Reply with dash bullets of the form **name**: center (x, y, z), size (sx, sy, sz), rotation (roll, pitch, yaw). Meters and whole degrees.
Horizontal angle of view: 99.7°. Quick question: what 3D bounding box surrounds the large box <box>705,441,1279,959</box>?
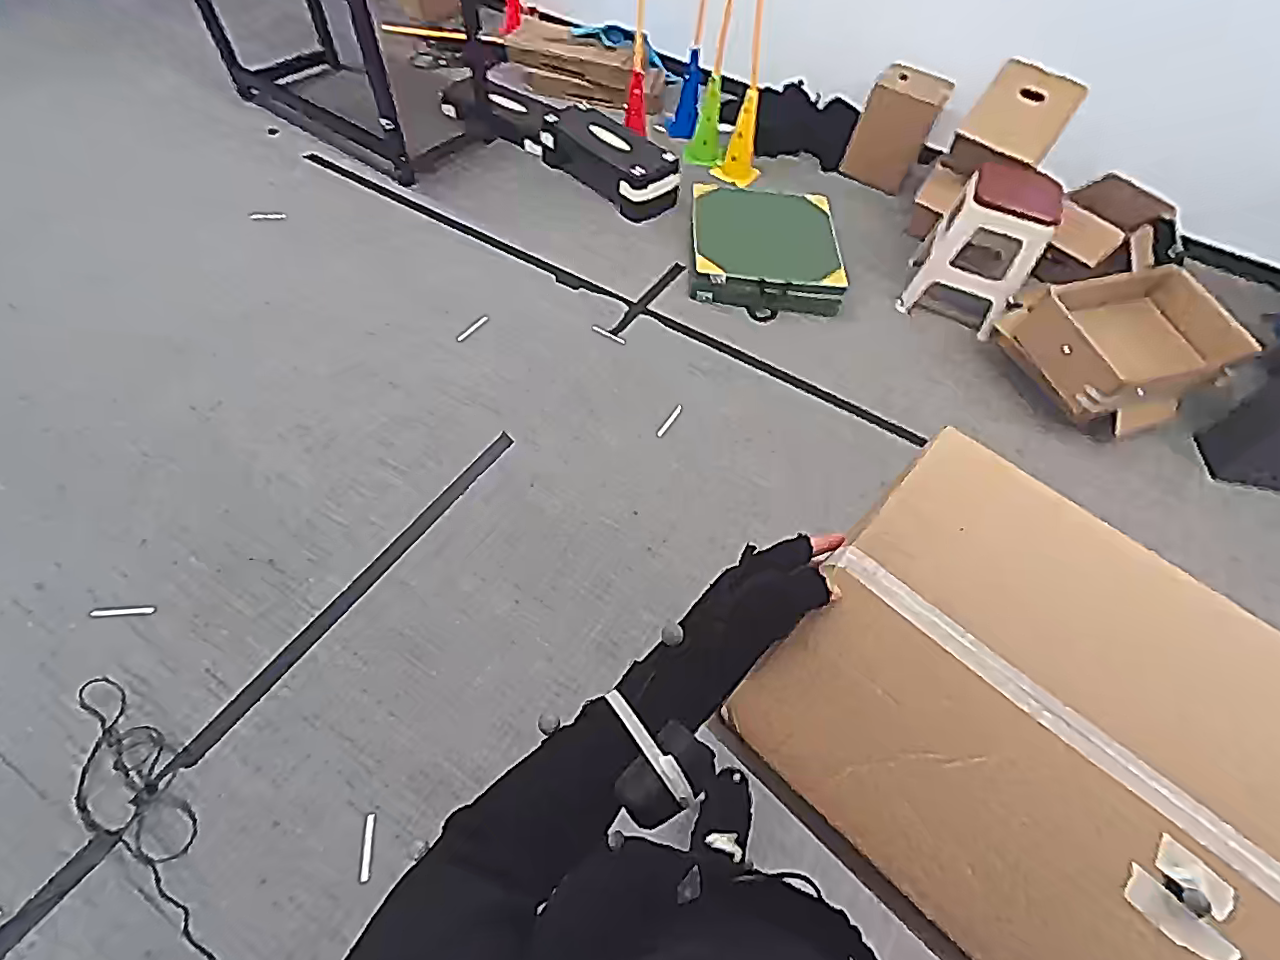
- **large box**: center (0.316, 0.243, 0.511), size (0.408, 0.320, 0.320), rotation (40, 74, 18)
